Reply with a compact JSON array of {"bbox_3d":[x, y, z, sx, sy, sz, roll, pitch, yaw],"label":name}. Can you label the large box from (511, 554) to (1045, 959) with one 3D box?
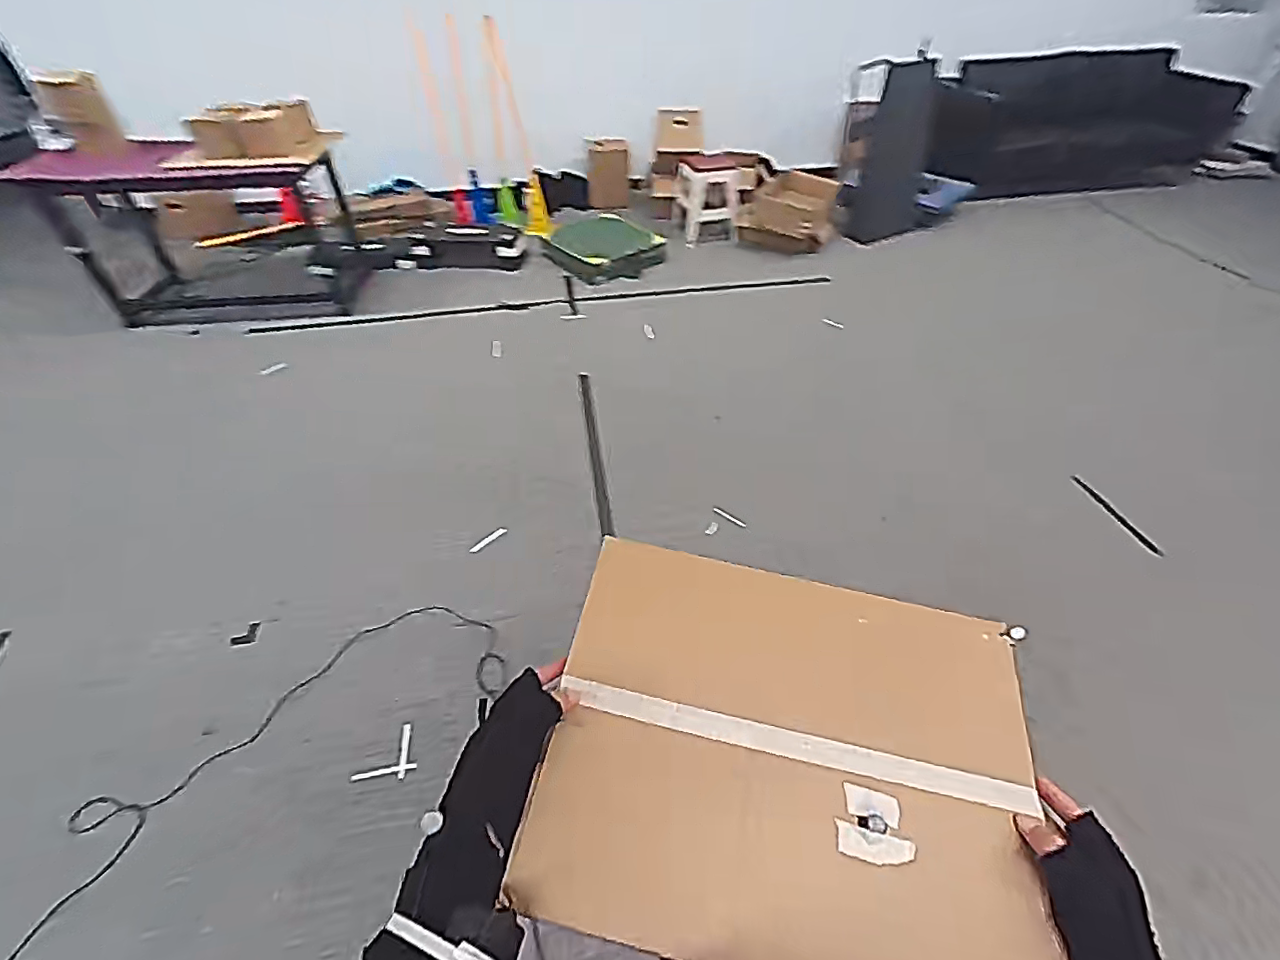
[{"bbox_3d":[0.114,0.317,0.592,0.408,0.320,0.320,11,56,4],"label":"large box"}]
